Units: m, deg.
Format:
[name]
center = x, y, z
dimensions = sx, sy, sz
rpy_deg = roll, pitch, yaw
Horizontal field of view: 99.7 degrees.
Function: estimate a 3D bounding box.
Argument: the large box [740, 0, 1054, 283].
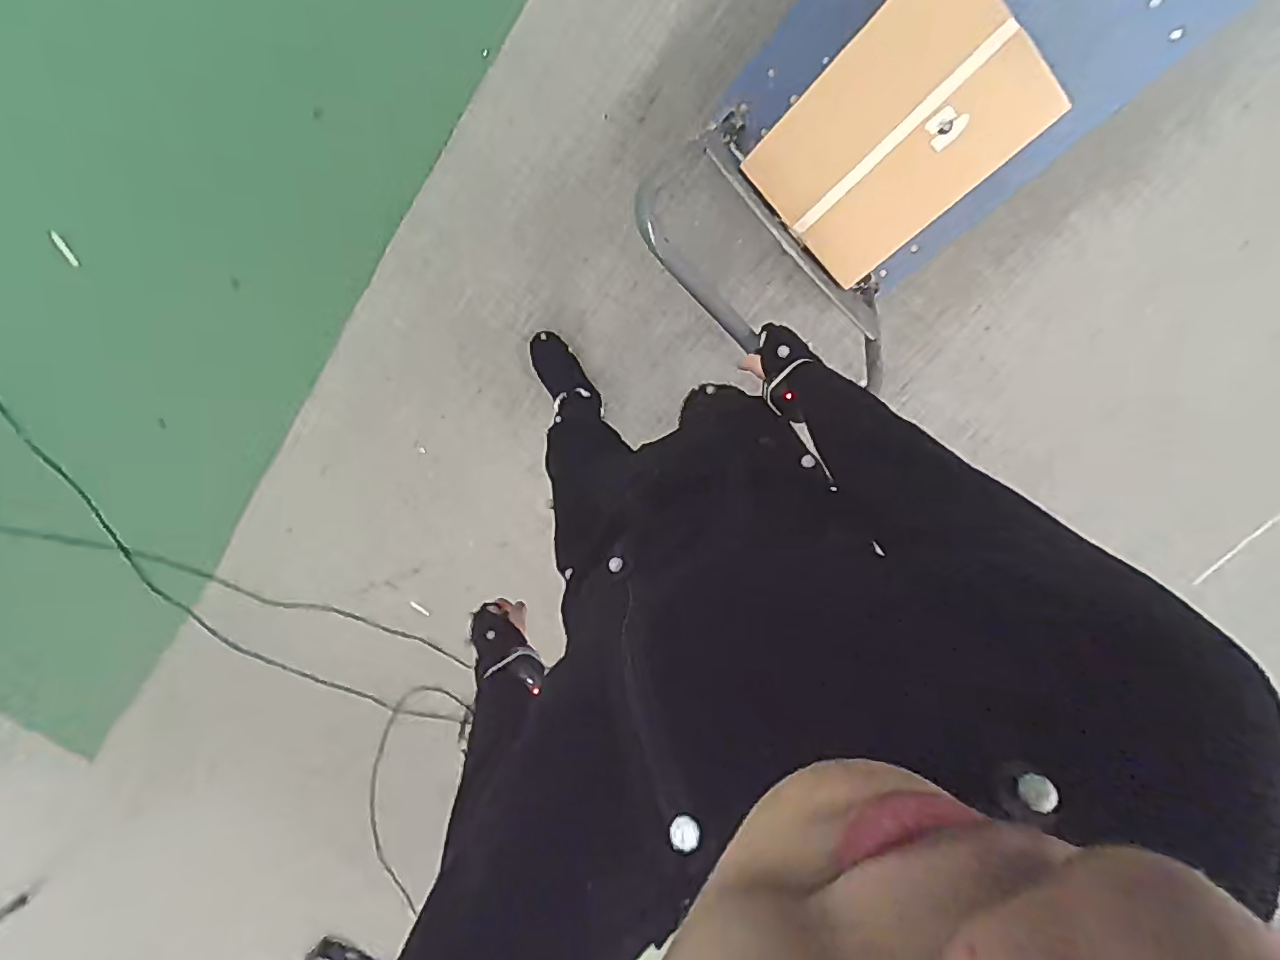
[large box]
center = 0.454, -0.666, 1.042
dimensions = 0.320, 0.320, 0.408
rpy_deg = 43, 125, -13
